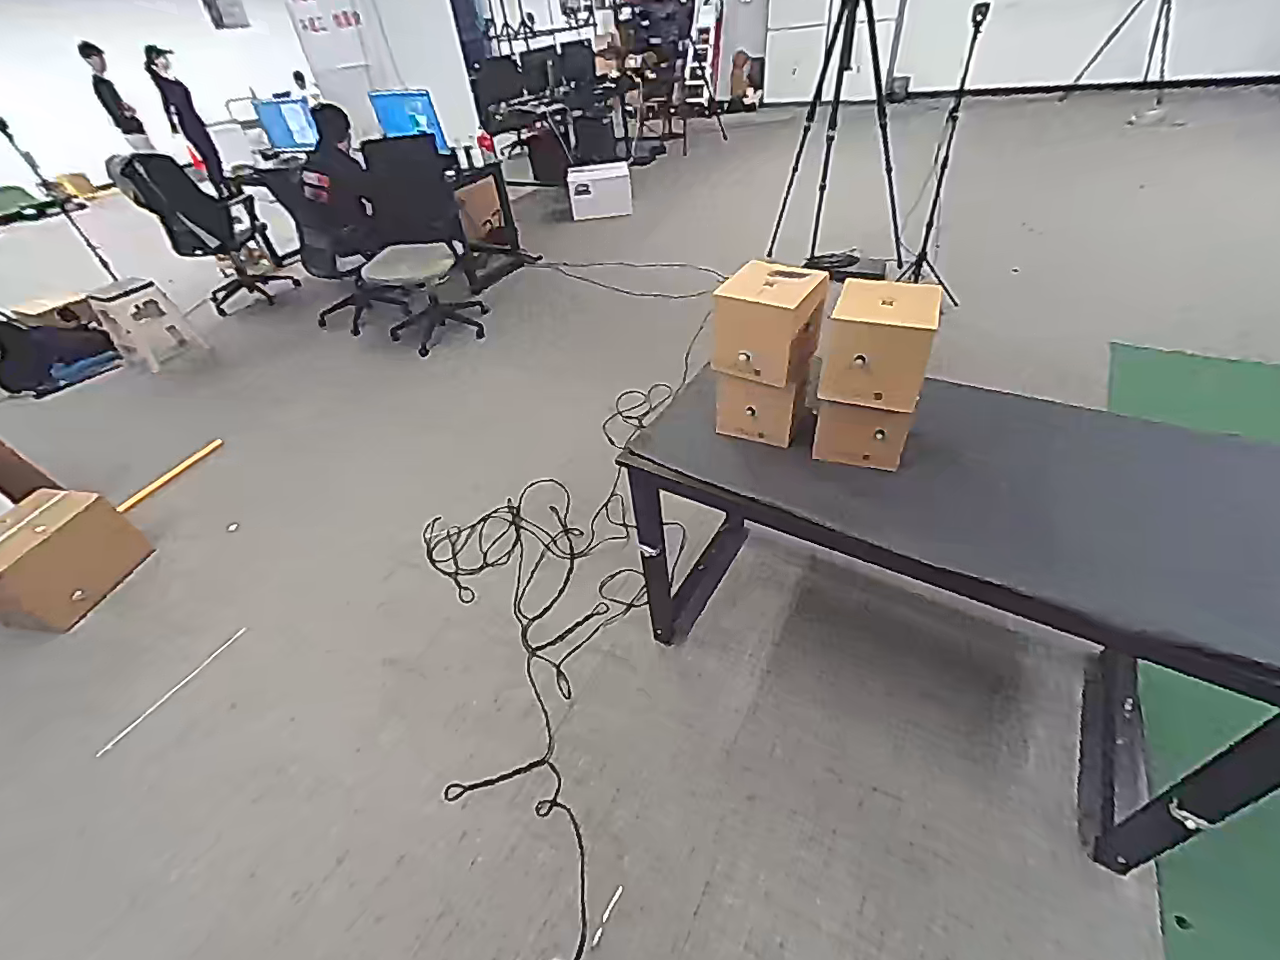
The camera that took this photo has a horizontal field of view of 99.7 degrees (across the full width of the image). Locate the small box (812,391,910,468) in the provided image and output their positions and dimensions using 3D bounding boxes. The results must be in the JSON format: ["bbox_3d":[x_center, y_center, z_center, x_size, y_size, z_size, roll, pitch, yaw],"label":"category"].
[{"bbox_3d":[0.458,-0.147,1.118,0.168,0.176,0.179,12,44,19],"label":"small box"}]

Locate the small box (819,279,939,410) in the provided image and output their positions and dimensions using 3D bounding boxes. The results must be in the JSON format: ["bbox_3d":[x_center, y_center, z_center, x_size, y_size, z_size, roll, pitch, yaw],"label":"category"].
[{"bbox_3d":[0.433,-0.249,0.991,0.168,0.176,0.179,13,45,20],"label":"small box"}]
